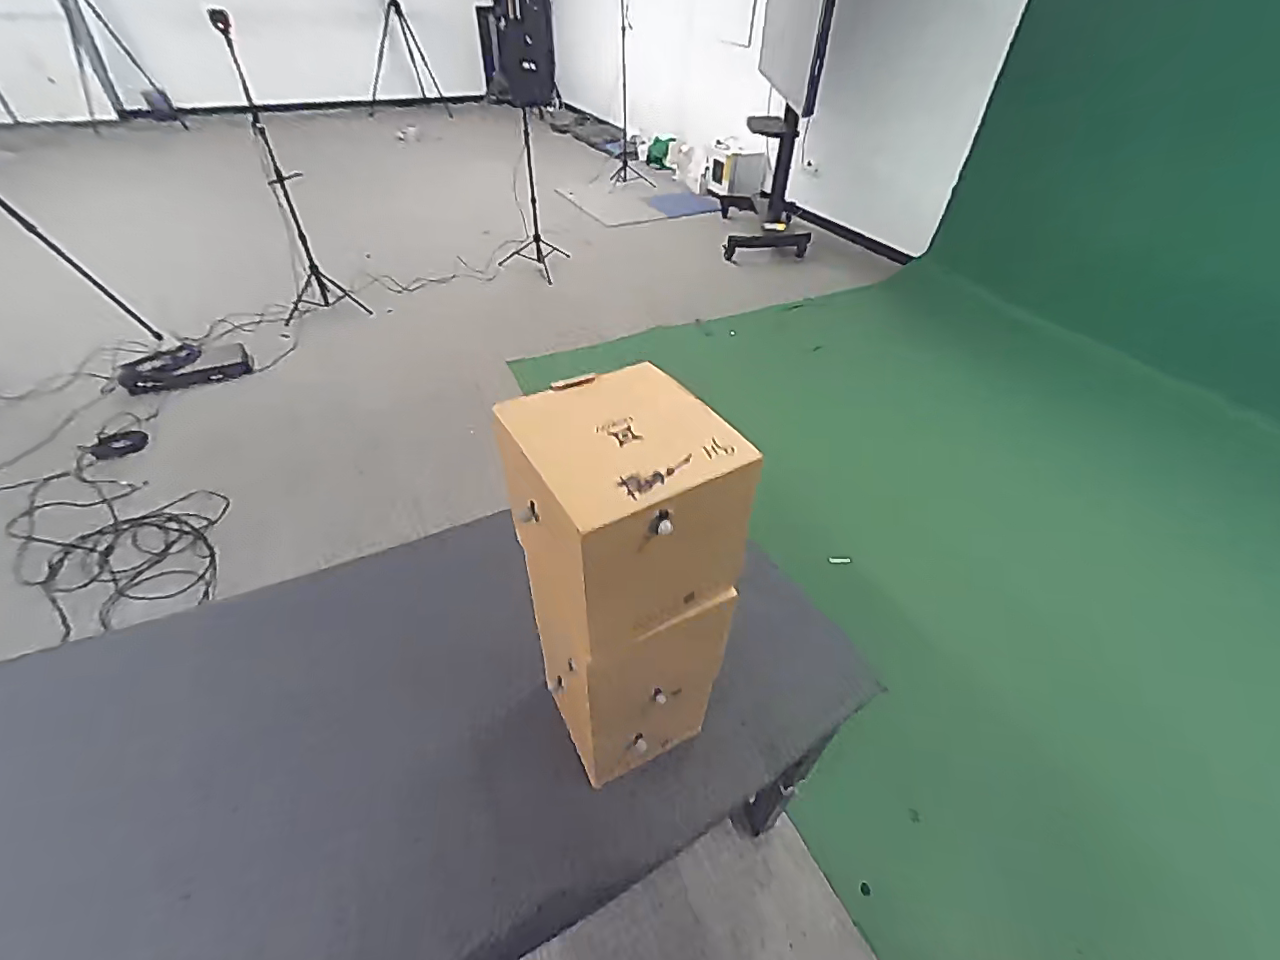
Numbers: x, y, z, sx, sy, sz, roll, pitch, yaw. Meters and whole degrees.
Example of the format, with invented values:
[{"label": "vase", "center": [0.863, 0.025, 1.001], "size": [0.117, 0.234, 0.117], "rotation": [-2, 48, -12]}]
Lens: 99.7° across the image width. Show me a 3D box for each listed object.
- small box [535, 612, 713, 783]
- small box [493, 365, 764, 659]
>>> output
[{"label": "small box", "center": [-0.024, 0.266, 0.713], "size": [0.168, 0.176, 0.179], "rotation": [-19, 46, -21]}, {"label": "small box", "center": [-0.017, 0.024, 0.491], "size": [0.168, 0.176, 0.179], "rotation": [-22, 47, -23]}]
